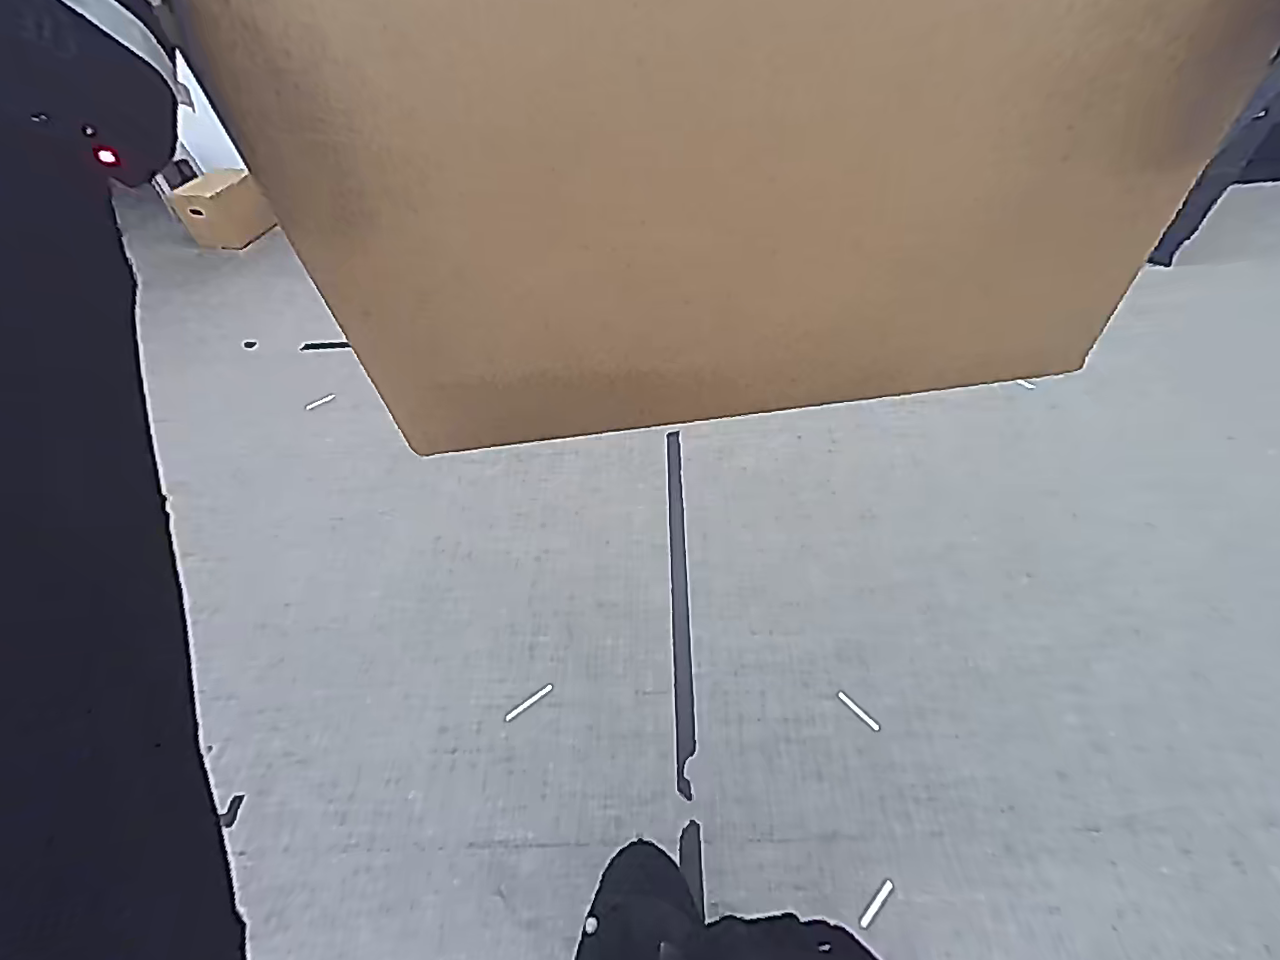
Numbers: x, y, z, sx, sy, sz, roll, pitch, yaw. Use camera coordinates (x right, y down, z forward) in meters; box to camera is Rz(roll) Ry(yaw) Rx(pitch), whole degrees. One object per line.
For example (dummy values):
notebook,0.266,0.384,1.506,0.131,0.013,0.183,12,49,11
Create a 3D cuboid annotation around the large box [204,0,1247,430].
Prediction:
large box,0.033,-0.261,0.325,0.408,0.320,0.320,-7,48,0
